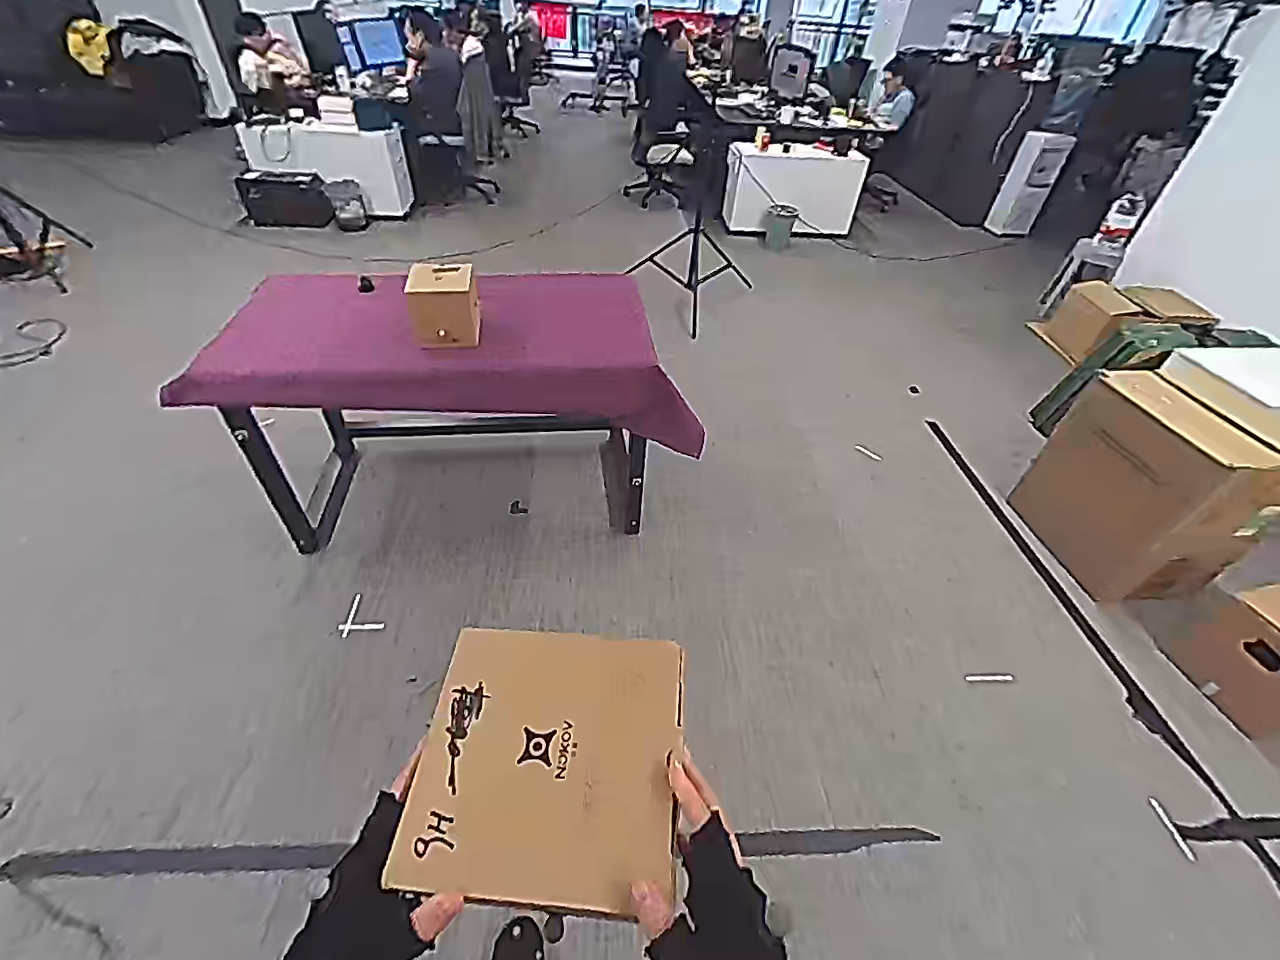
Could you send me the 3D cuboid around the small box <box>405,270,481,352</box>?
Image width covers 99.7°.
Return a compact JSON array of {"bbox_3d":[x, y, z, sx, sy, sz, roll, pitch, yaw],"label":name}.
[{"bbox_3d":[-0.549,-0.478,1.529,0.168,0.176,0.179,-4,44,-9],"label":"small box"}]
